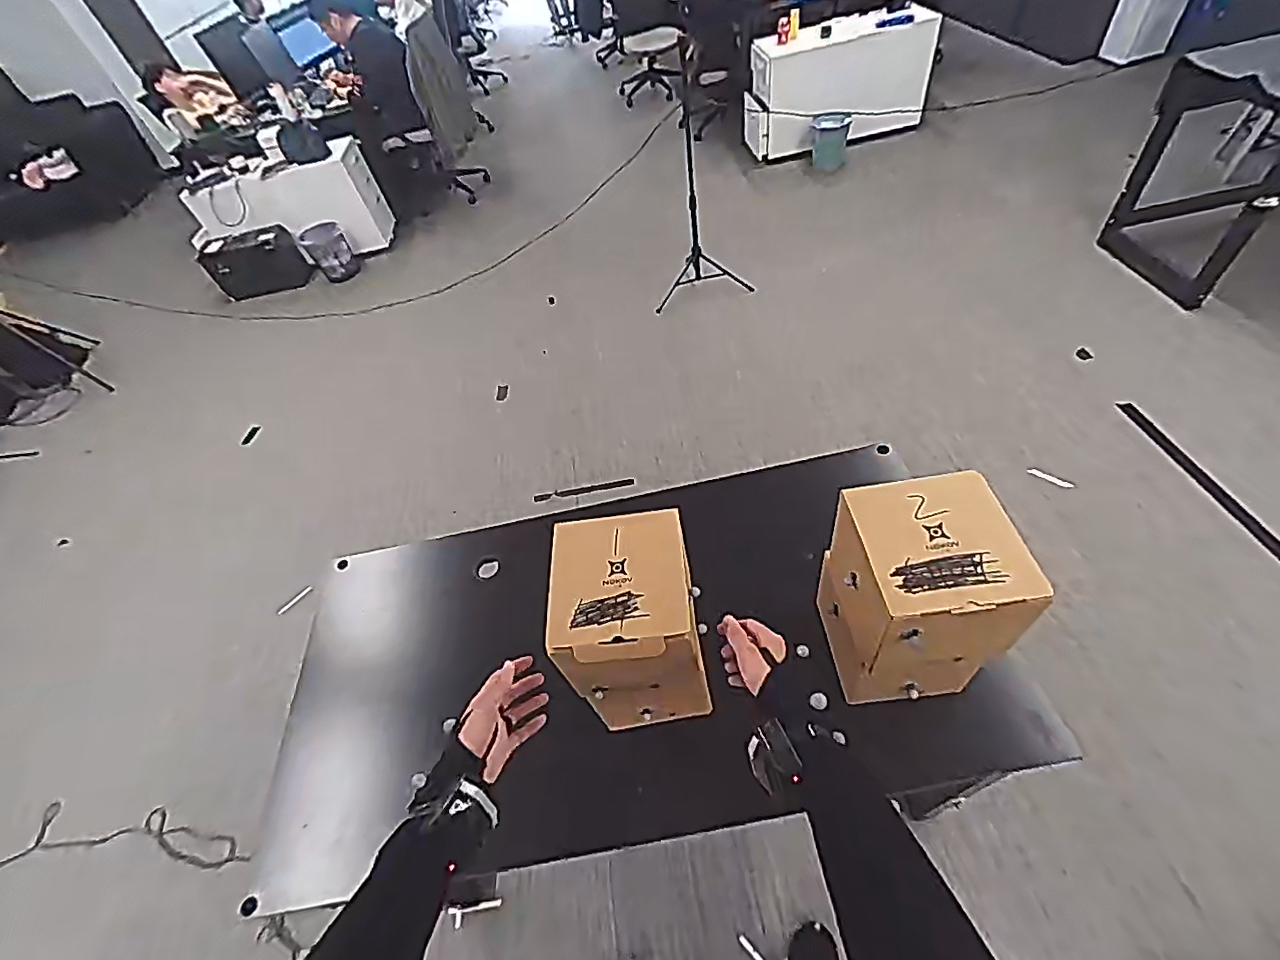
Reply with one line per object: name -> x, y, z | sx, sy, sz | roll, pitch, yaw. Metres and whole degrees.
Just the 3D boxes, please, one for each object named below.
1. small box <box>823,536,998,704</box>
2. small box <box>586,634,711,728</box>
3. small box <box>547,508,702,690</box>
small box -> 0.375, 0.208, 0.793 | 0.168, 0.176, 0.179 | -9, 50, 6
small box -> 0.011, 0.258, 0.833 | 0.168, 0.176, 0.179 | -11, 50, 2
small box -> -0.013, 0.162, 0.701 | 0.168, 0.176, 0.179 | -7, 50, 5
